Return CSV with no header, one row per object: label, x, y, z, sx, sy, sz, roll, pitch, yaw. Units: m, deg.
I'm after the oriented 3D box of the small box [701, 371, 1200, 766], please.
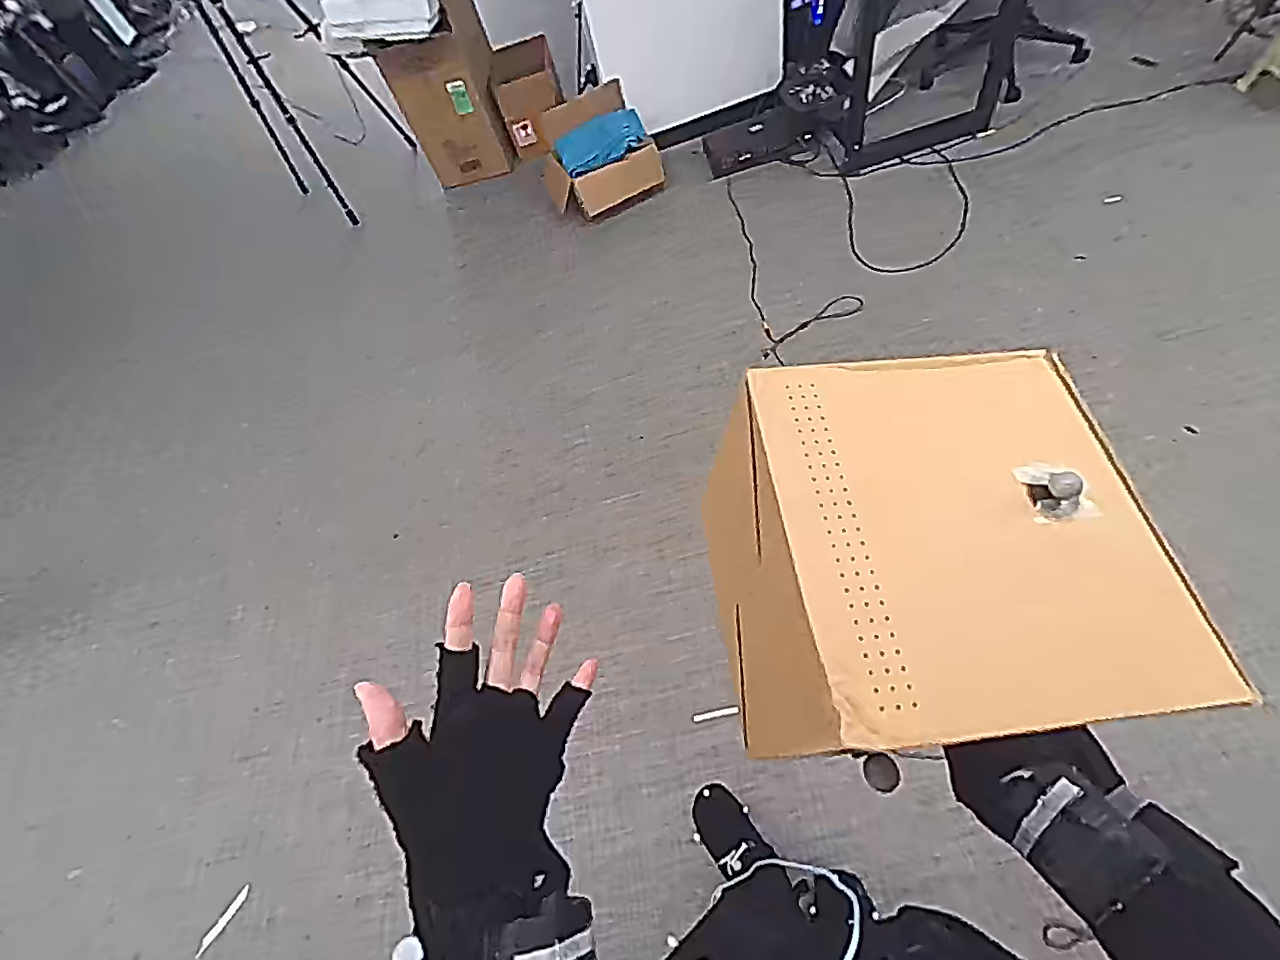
small box,0.134,0.059,0.320,0.176,0.168,0.179,-5,63,-4
